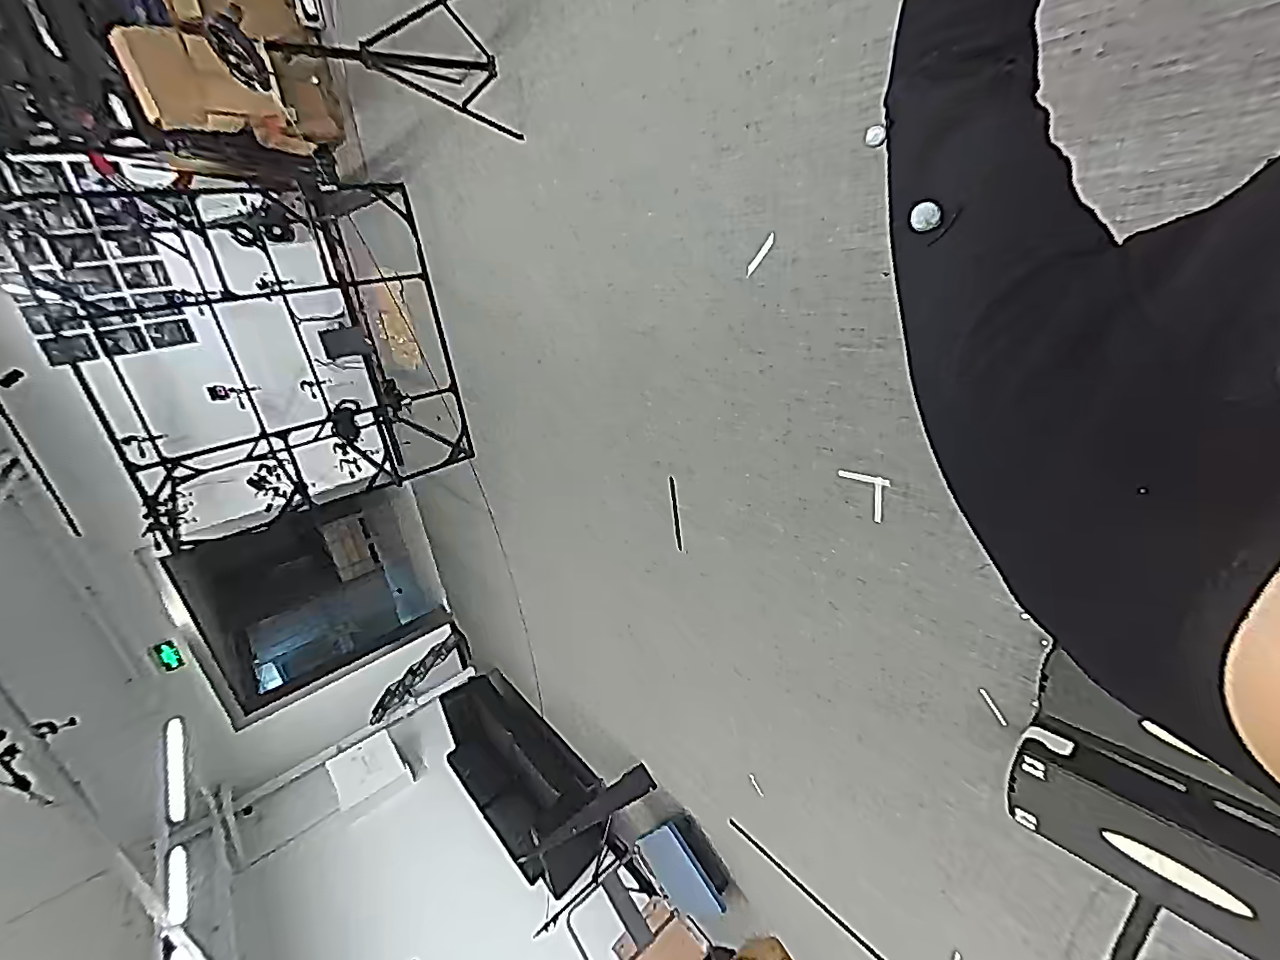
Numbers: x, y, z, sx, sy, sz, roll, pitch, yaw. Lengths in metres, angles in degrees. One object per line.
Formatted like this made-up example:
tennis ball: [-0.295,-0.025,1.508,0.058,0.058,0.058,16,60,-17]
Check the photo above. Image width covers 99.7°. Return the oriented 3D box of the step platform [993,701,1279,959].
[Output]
step platform: [1.271,0.852,1.324,0.684,0.204,0.286,19,124,49]
